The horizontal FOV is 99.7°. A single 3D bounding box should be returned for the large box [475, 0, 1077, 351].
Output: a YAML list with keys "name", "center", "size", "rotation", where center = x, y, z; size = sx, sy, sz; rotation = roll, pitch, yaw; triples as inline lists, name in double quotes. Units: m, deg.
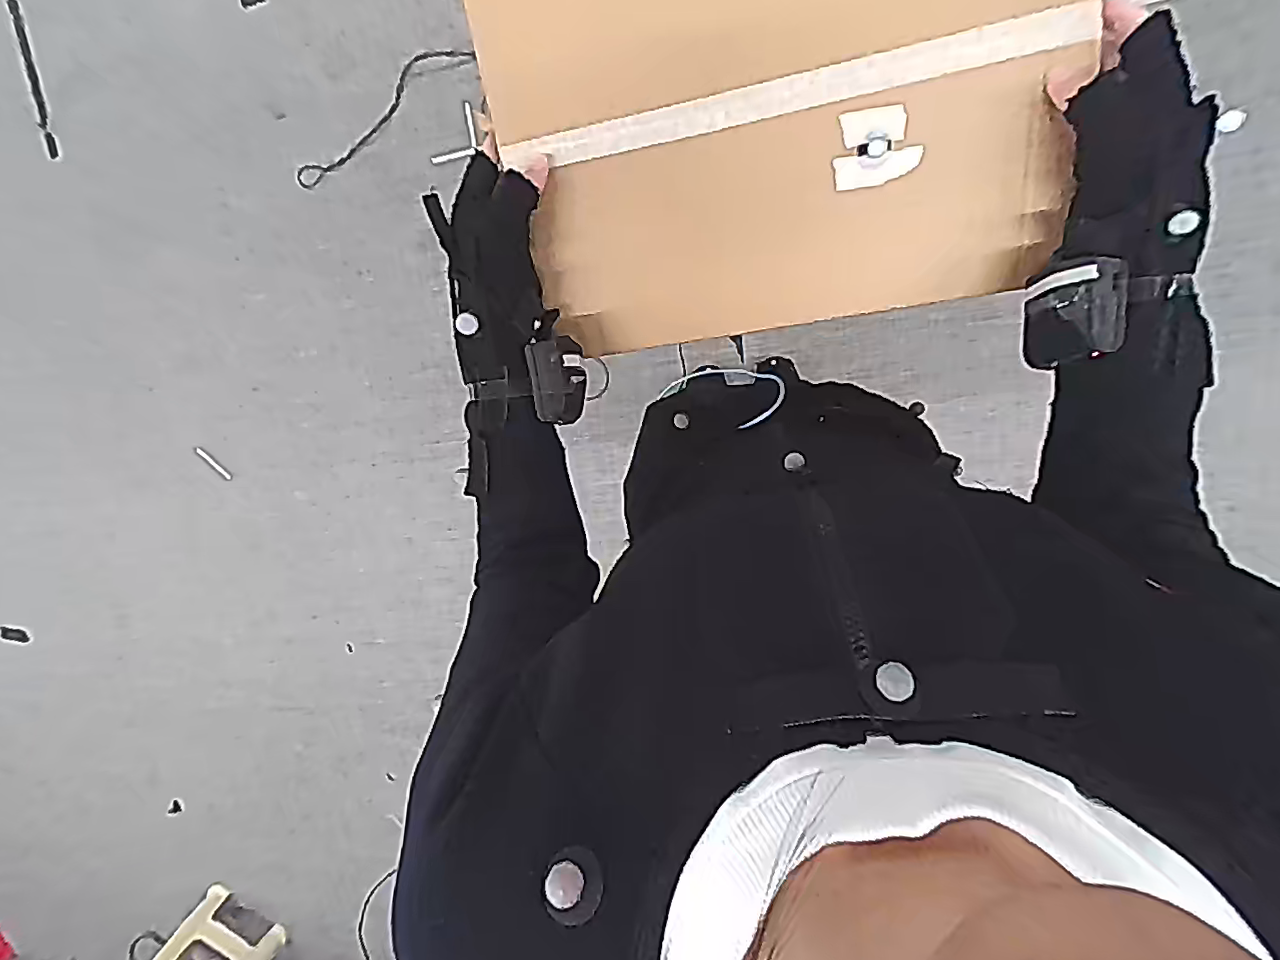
- name: "large box"
  center: [0.109, -0.334, 0.527]
  size: [0.408, 0.320, 0.320]
  rotation: [-7, 112, 10]
